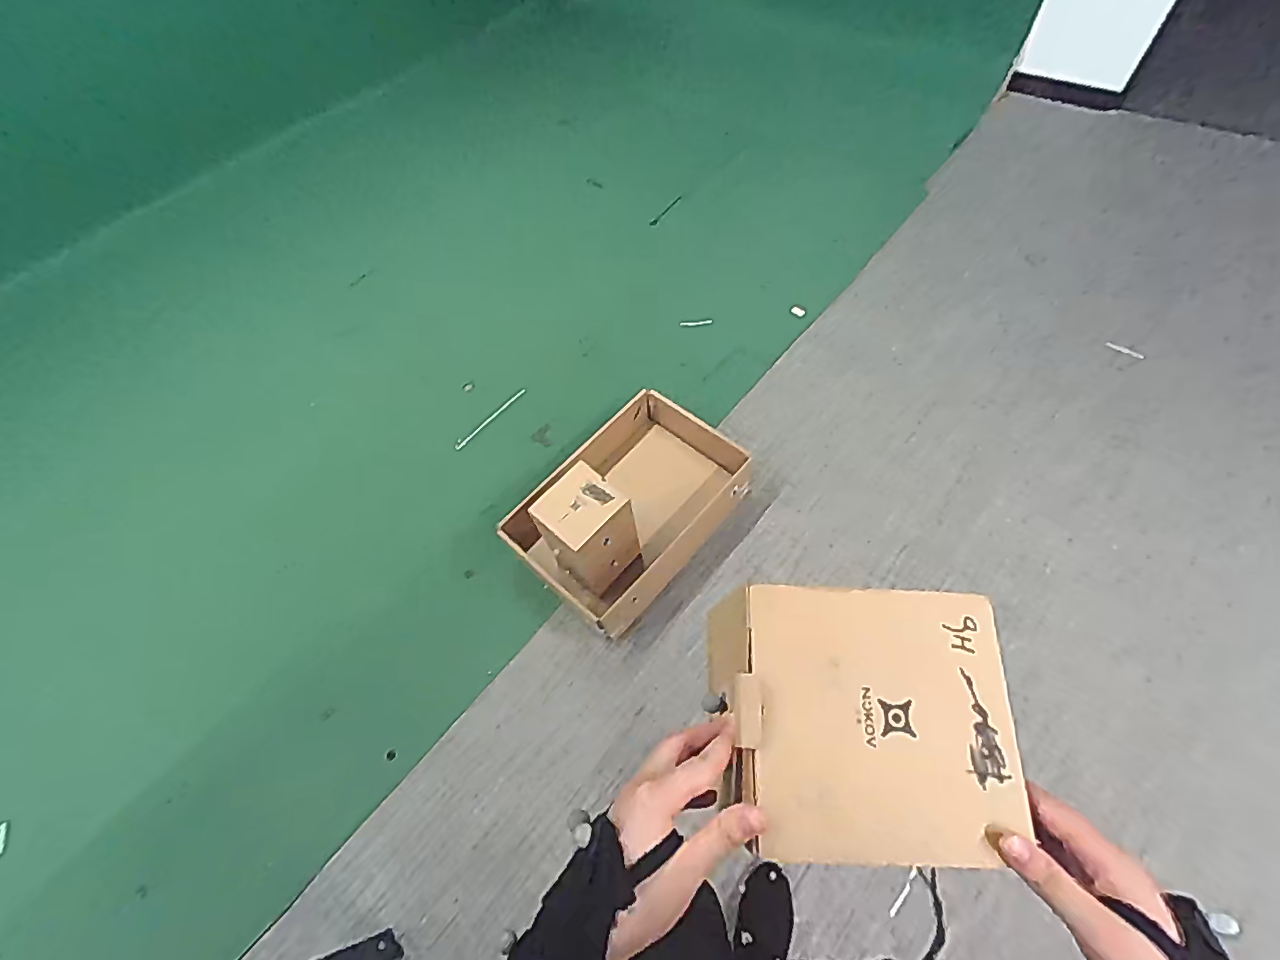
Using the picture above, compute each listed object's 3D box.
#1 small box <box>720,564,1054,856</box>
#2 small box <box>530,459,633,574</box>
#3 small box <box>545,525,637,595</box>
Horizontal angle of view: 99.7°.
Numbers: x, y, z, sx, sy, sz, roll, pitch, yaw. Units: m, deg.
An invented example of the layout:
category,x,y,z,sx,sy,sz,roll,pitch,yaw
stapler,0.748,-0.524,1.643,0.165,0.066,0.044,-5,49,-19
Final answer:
category,x,y,z,sx,sy,sz,roll,pitch,yaw
small box,0.161,0.169,0.421,0.179,0.176,0.168,4,69,-2
small box,-0.130,0.091,1.285,0.168,0.176,0.179,37,69,24
small box,-0.120,0.173,1.427,0.168,0.176,0.179,36,68,22
